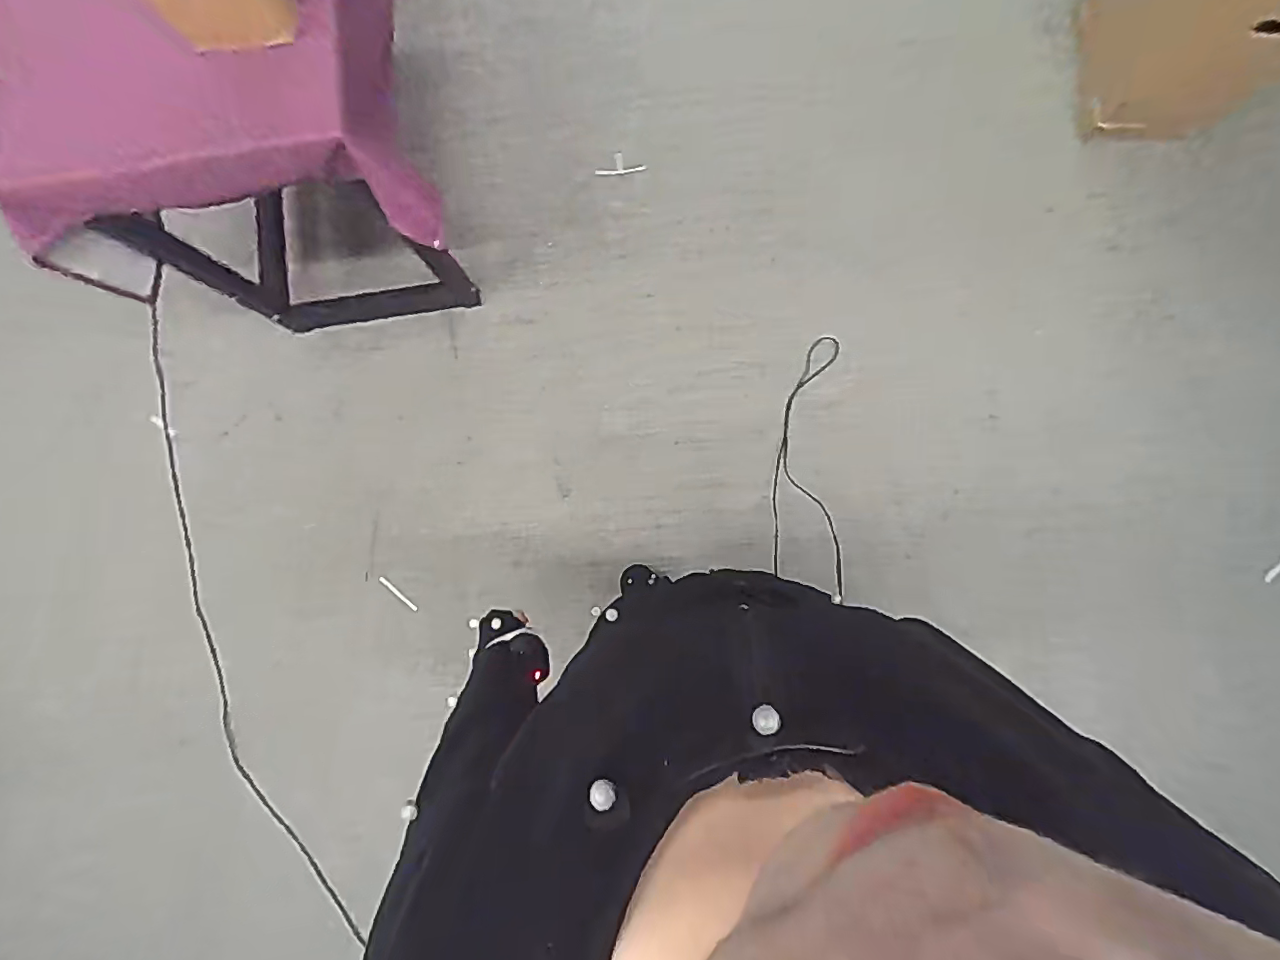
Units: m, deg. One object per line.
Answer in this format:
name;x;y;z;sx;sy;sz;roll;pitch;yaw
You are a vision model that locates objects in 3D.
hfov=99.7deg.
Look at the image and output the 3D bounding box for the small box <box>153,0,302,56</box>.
small box;-0.660;-0.801;0.836;0.179;0.176;0.168;-2;85;2
